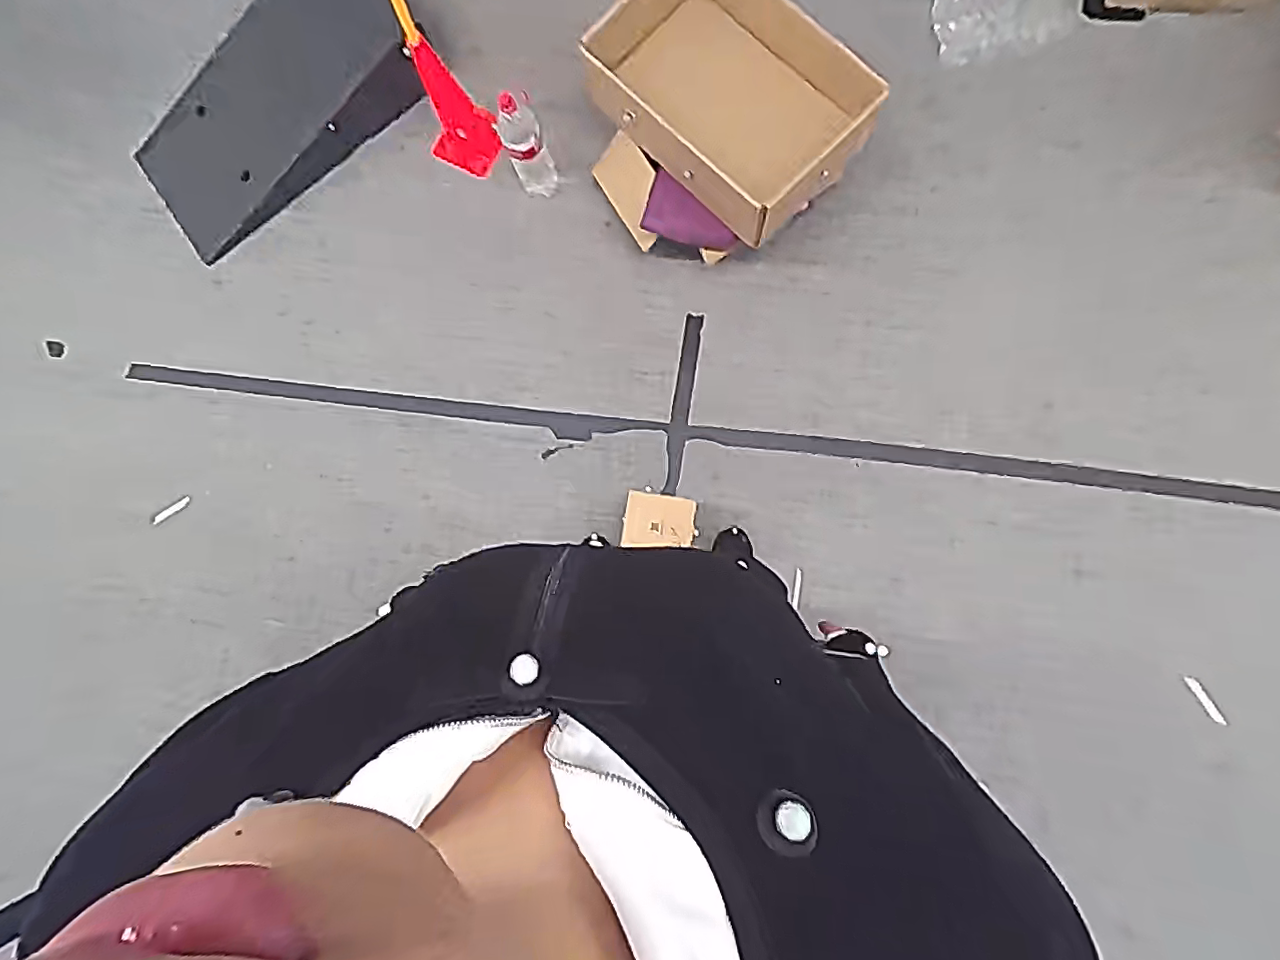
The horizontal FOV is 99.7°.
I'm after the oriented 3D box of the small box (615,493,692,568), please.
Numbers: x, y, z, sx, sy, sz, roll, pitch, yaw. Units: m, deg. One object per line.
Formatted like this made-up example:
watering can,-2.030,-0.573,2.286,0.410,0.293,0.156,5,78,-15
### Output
small box,0.040,0.132,1.427,0.179,0.176,0.168,8,87,5
